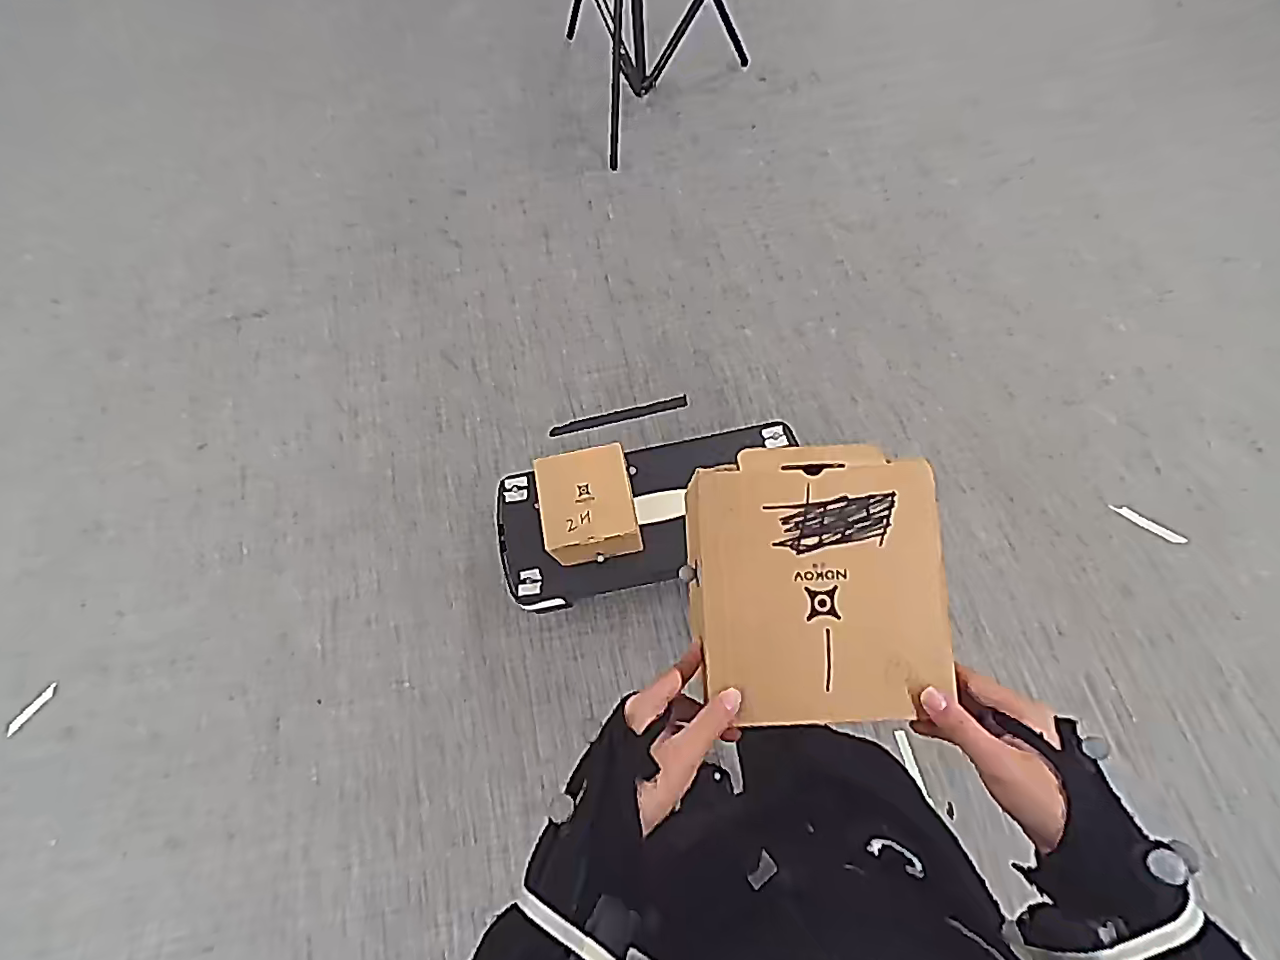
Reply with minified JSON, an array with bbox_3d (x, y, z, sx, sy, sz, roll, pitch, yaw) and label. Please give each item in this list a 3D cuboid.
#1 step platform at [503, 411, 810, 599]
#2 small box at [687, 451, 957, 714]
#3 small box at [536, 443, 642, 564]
[{"bbox_3d":[0.045,0.059,1.211,0.684,0.204,0.286,-12,71,0],"label":"step platform"},{"bbox_3d":[0.128,0.079,0.450,0.168,0.176,0.179,-2,83,2],"label":"small box"},{"bbox_3d":[-0.094,0.051,1.039,0.168,0.176,0.179,-11,72,1],"label":"small box"}]
